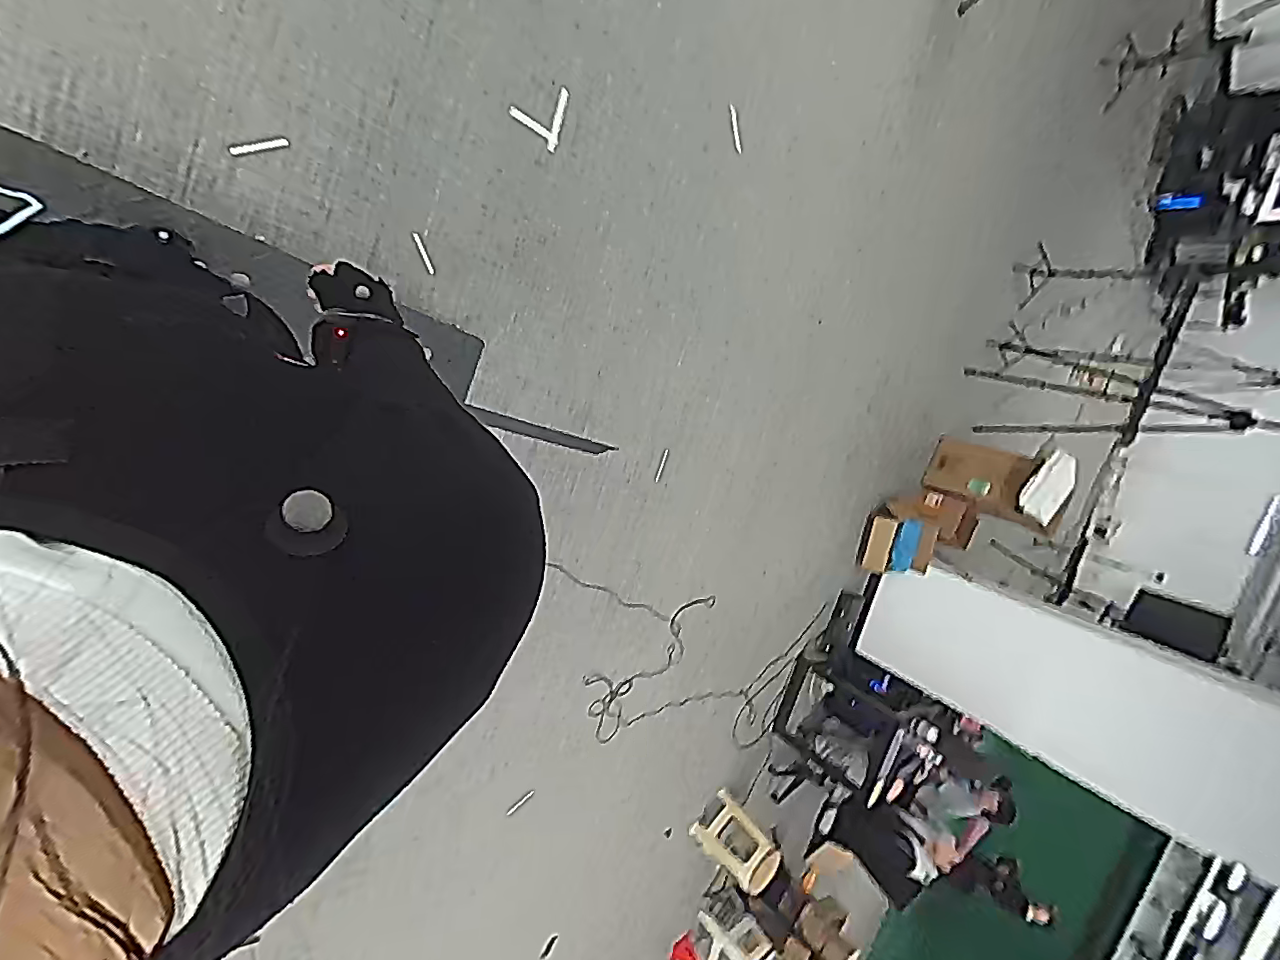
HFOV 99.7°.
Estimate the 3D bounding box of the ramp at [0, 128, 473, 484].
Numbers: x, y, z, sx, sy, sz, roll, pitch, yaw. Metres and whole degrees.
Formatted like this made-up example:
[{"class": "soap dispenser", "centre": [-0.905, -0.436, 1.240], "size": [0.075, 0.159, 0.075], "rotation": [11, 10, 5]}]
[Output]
[{"class": "ramp", "centre": [-0.863, -0.283, 1.259], "size": [0.991, 0.206, 0.509], "rotation": [13, 97, -45]}]
